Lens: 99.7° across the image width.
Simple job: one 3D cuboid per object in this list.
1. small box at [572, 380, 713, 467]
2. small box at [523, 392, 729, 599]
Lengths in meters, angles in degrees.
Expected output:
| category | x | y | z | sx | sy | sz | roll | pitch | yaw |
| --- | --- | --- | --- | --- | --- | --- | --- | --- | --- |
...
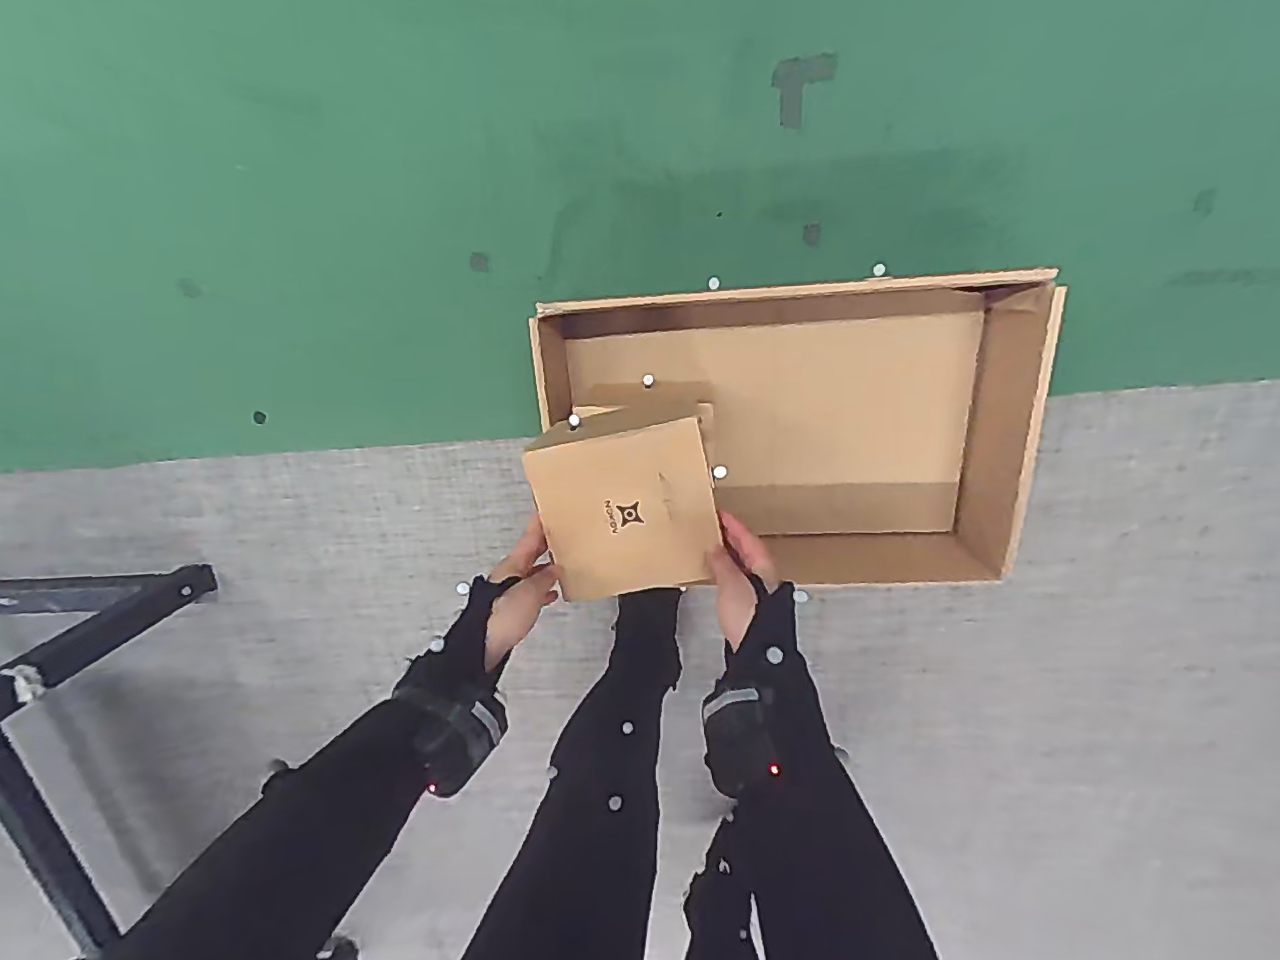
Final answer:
| category | x | y | z | sx | sy | sz | roll | pitch | yaw |
| --- | --- | --- | --- | --- | --- | --- | --- | --- | --- |
| small box | 0.011 | -0.045 | 0.759 | 0.179 | 0.176 | 0.168 | 0 | 110 | 5 |
| small box | -0.007 | 0.008 | 0.601 | 0.179 | 0.176 | 0.168 | -12 | 106 | 7 |
